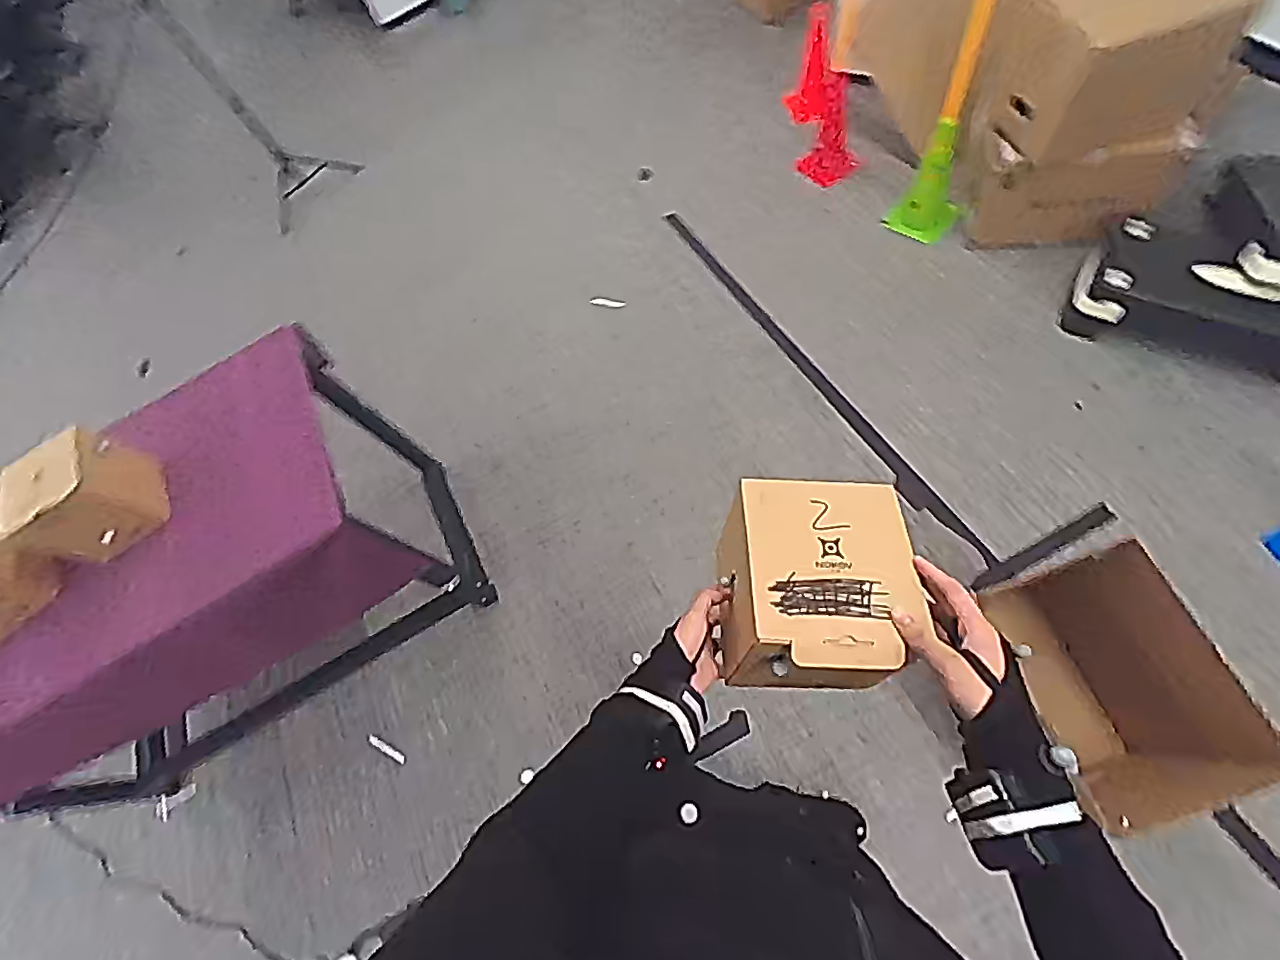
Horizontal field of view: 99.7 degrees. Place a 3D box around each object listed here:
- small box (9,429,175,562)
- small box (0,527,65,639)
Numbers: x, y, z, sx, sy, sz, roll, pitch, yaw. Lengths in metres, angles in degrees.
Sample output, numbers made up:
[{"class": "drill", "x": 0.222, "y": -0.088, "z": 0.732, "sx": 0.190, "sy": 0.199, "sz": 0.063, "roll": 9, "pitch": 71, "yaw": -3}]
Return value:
[{"class": "small box", "x": -1.096, "y": 0.037, "z": 1.091, "sx": 0.168, "sy": 0.176, "sz": 0.179, "roll": -35, "pitch": 63, "yaw": -4}, {"class": "small box", "x": -1.305, "y": 0.200, "z": 1.068, "sx": 0.168, "sy": 0.176, "sz": 0.179, "roll": -42, "pitch": 64, "yaw": -8}]
